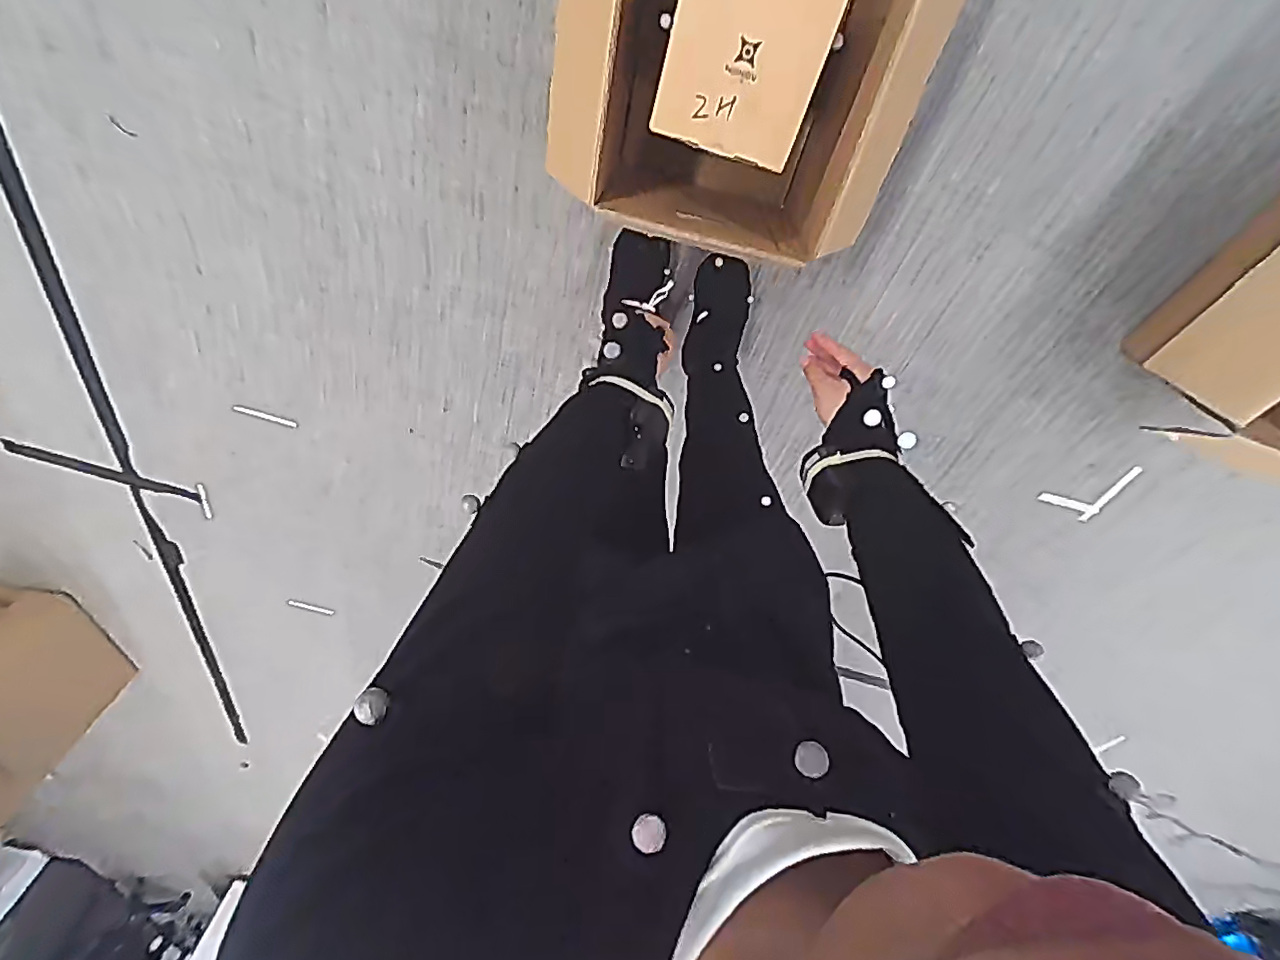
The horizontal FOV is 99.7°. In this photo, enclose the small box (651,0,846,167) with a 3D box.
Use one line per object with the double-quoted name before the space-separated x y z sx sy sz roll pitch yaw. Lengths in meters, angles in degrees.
"small box" 0.117 -0.502 0.636 0.168 0.176 0.179 15 129 -5
